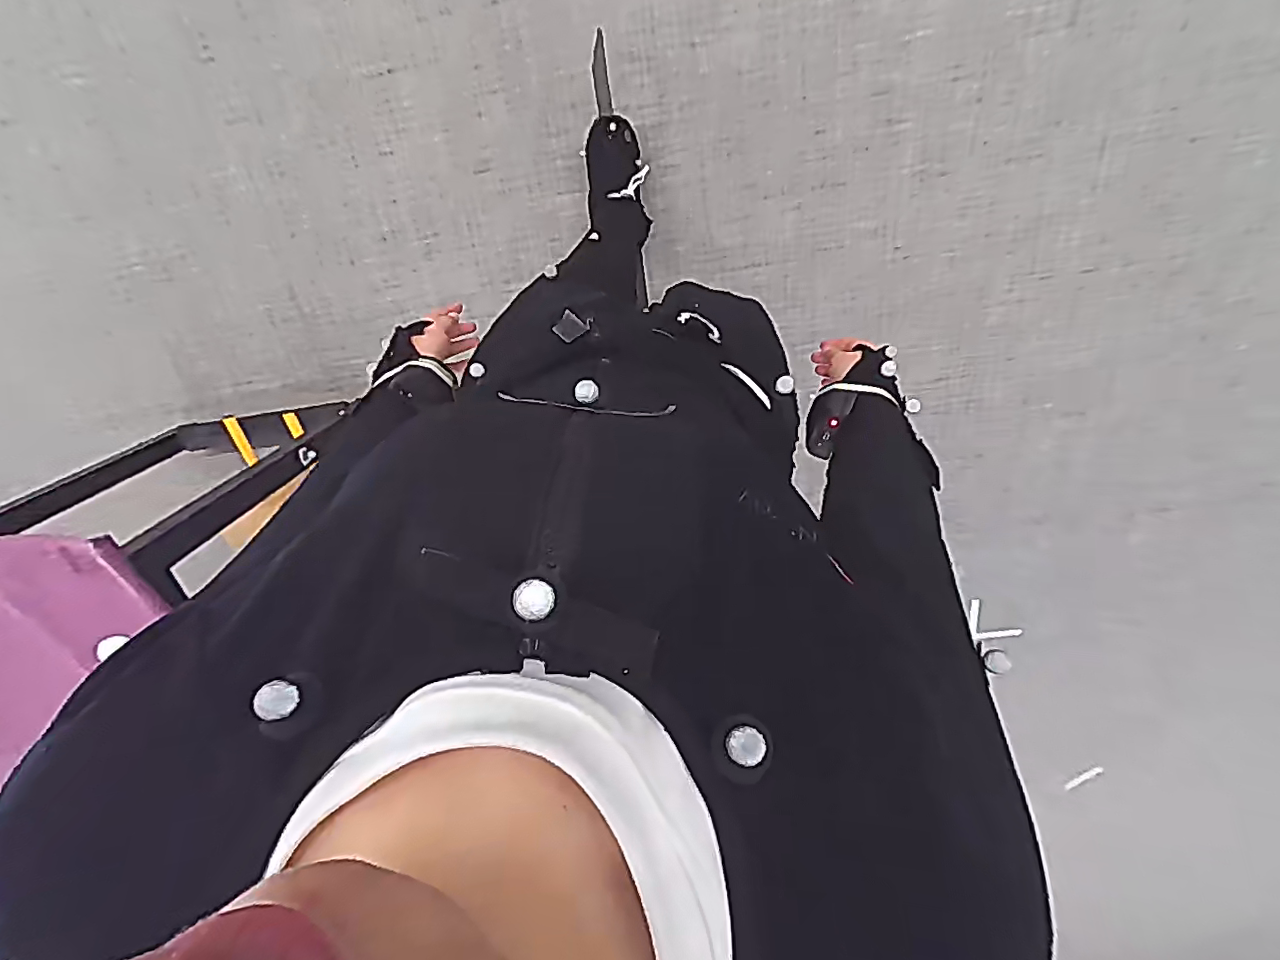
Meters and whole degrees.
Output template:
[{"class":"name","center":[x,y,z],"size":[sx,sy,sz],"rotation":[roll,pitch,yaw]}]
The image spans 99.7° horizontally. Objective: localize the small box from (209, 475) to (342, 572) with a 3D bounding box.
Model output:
[{"class":"small box","center":[-0.879,0.104,1.323],"size":[0.179,0.176,0.168],"rotation":[-8,117,6]}]
